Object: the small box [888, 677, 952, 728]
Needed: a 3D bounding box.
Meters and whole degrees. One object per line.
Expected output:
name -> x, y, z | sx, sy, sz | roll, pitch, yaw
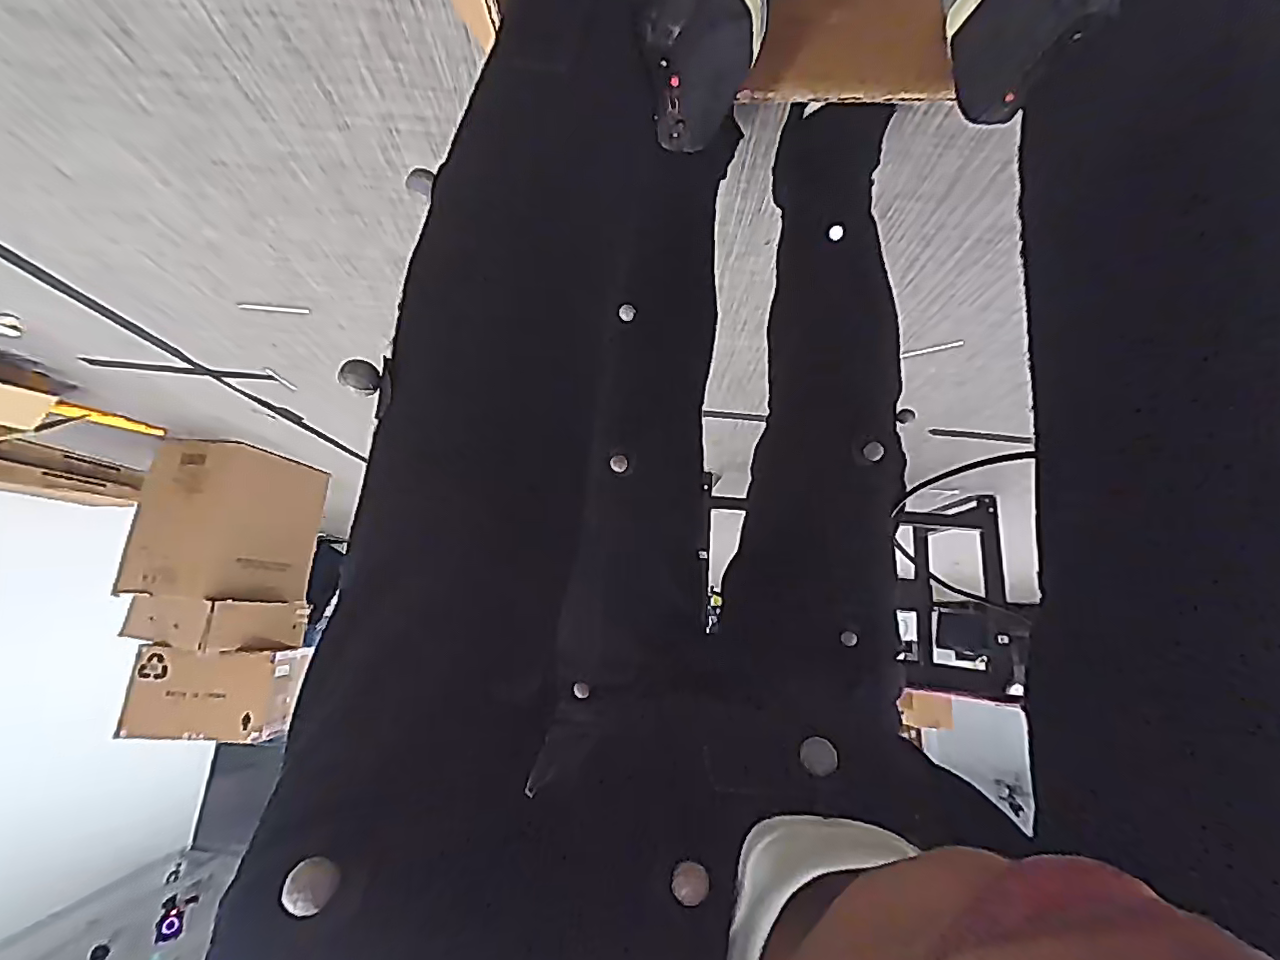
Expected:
small box -> 1.115, 0.889, 2.170 | 0.168, 0.176, 0.179 | 6, 165, -6
